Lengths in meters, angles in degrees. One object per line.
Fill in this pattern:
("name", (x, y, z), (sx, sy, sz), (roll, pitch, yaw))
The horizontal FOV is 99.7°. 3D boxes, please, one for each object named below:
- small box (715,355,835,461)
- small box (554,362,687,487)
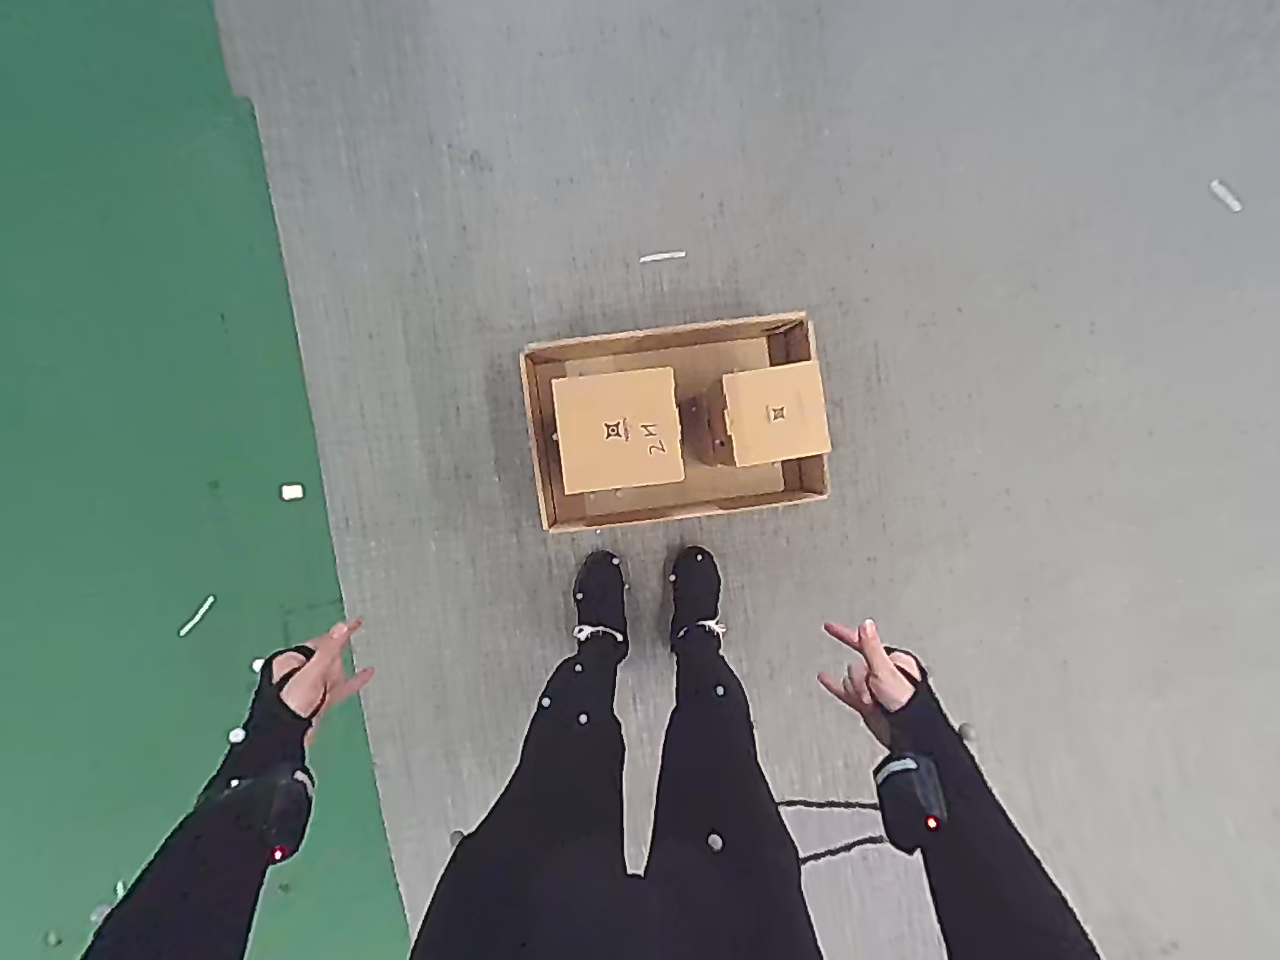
("small box", (0.242, -0.128, 1.014), (0.179, 0.176, 0.168), (-9, 95, -1))
("small box", (-0.029, -0.080, 0.840), (0.179, 0.176, 0.168), (-6, 93, -2))
